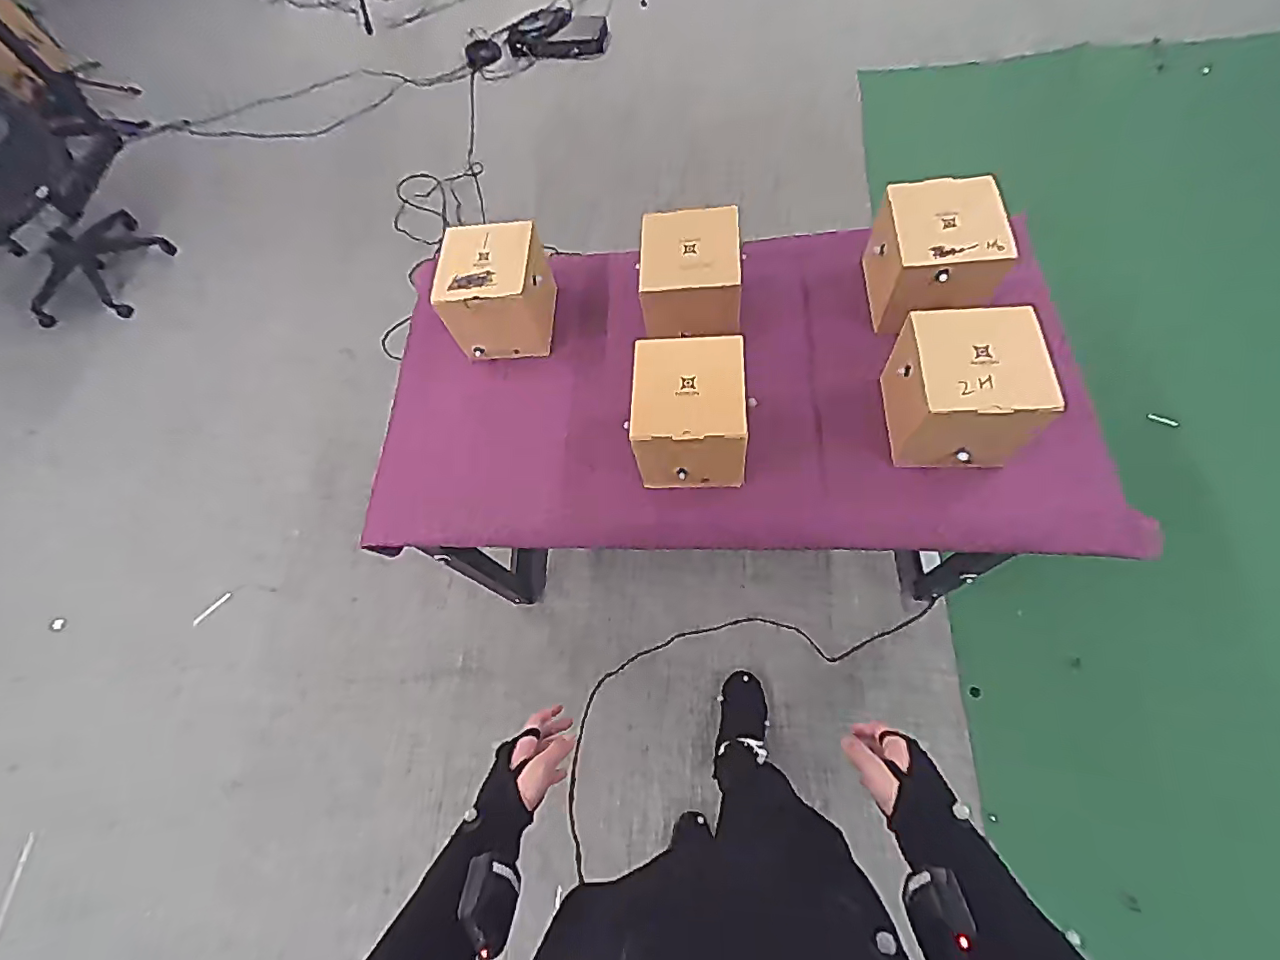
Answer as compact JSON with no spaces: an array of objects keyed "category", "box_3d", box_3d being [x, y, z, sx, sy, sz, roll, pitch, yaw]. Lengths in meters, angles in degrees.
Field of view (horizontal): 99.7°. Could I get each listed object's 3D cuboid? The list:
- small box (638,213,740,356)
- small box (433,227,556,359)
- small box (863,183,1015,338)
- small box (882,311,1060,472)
[{"category":"small box","box_3d":[0.092,-0.345,0.972,0.168,0.176,0.179,-1,67,9]},{"category":"small box","box_3d":[-0.263,-0.341,1.021,0.168,0.176,0.179,-2,65,7]},{"category":"small box","box_3d":[0.491,-0.366,0.920,0.168,0.176,0.179,-2,66,8]},{"category":"small box","box_3d":[0.476,-0.127,0.811,0.168,0.176,0.179,0,65,10]}]
